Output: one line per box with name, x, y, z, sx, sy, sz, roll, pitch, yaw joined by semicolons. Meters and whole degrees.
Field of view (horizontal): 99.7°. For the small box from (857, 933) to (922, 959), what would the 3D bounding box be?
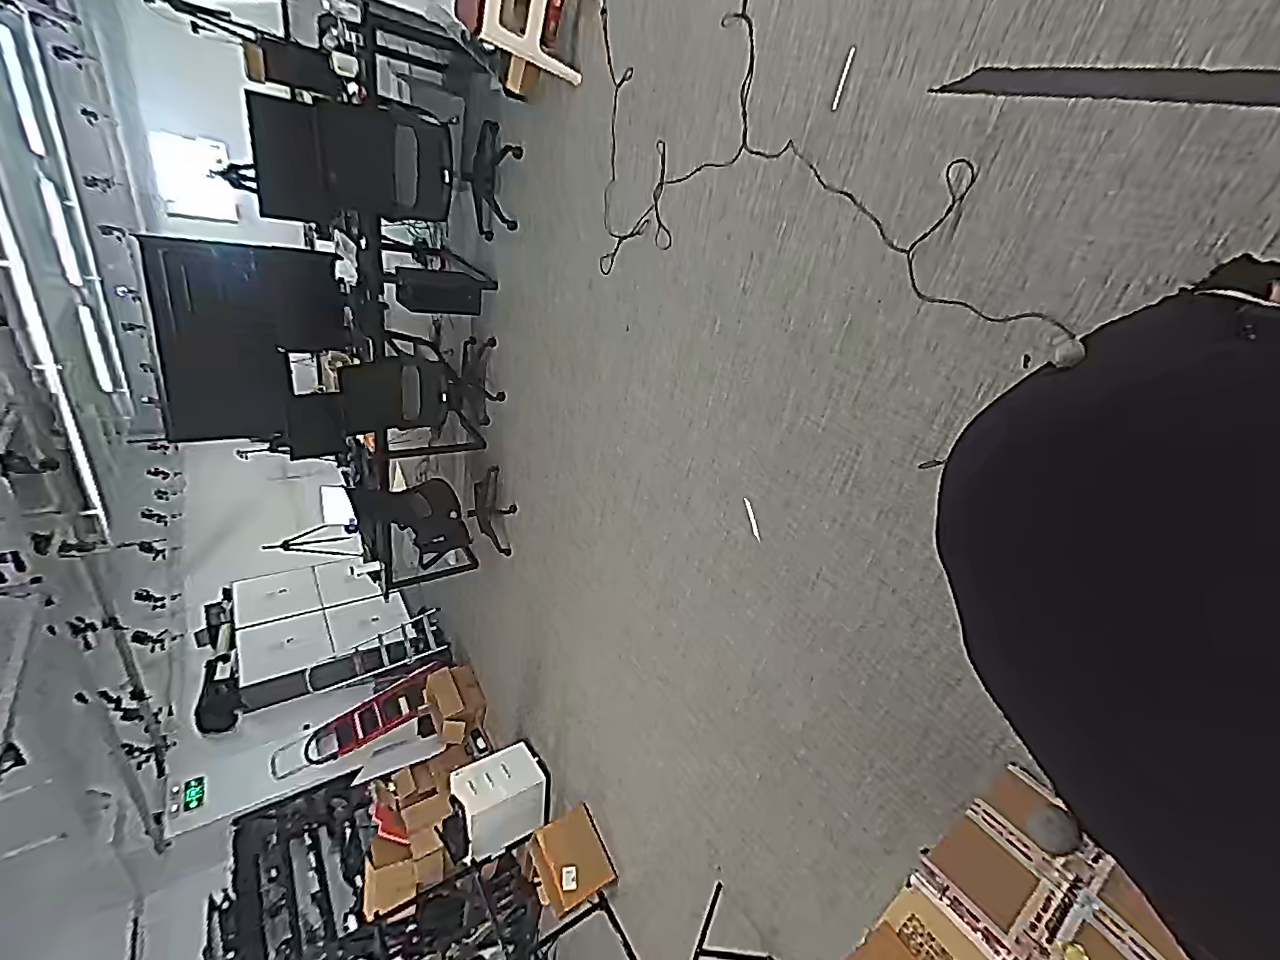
small box;0.491;1.042;1.057;0.179;0.176;0.168;41;128;44
